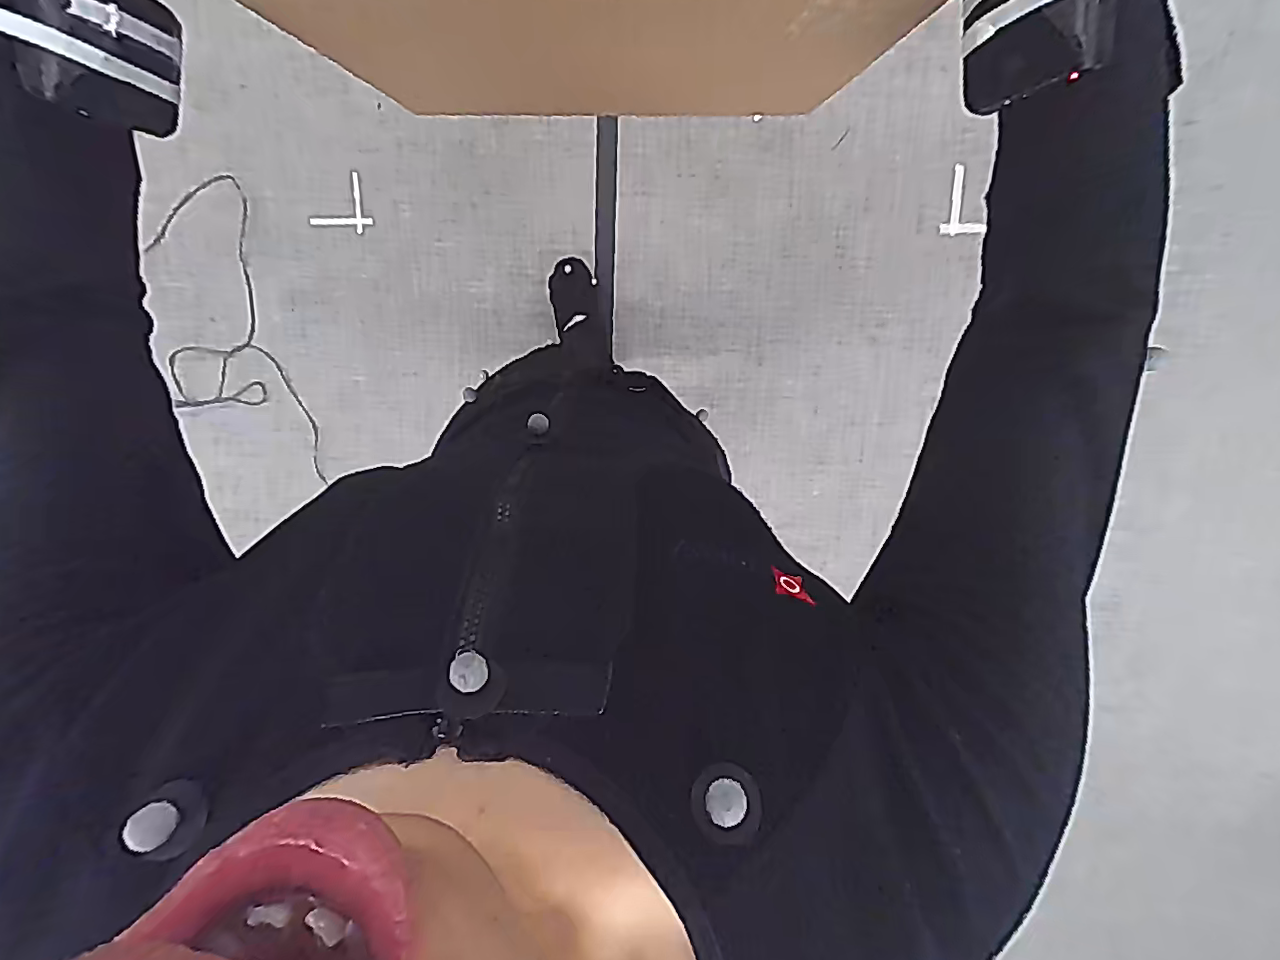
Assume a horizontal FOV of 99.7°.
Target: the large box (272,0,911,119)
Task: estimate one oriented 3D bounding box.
[{"bbox_3d":[-0.028,-0.463,0.358,0.408,0.320,0.320,-1,112,0],"label":"large box"}]
